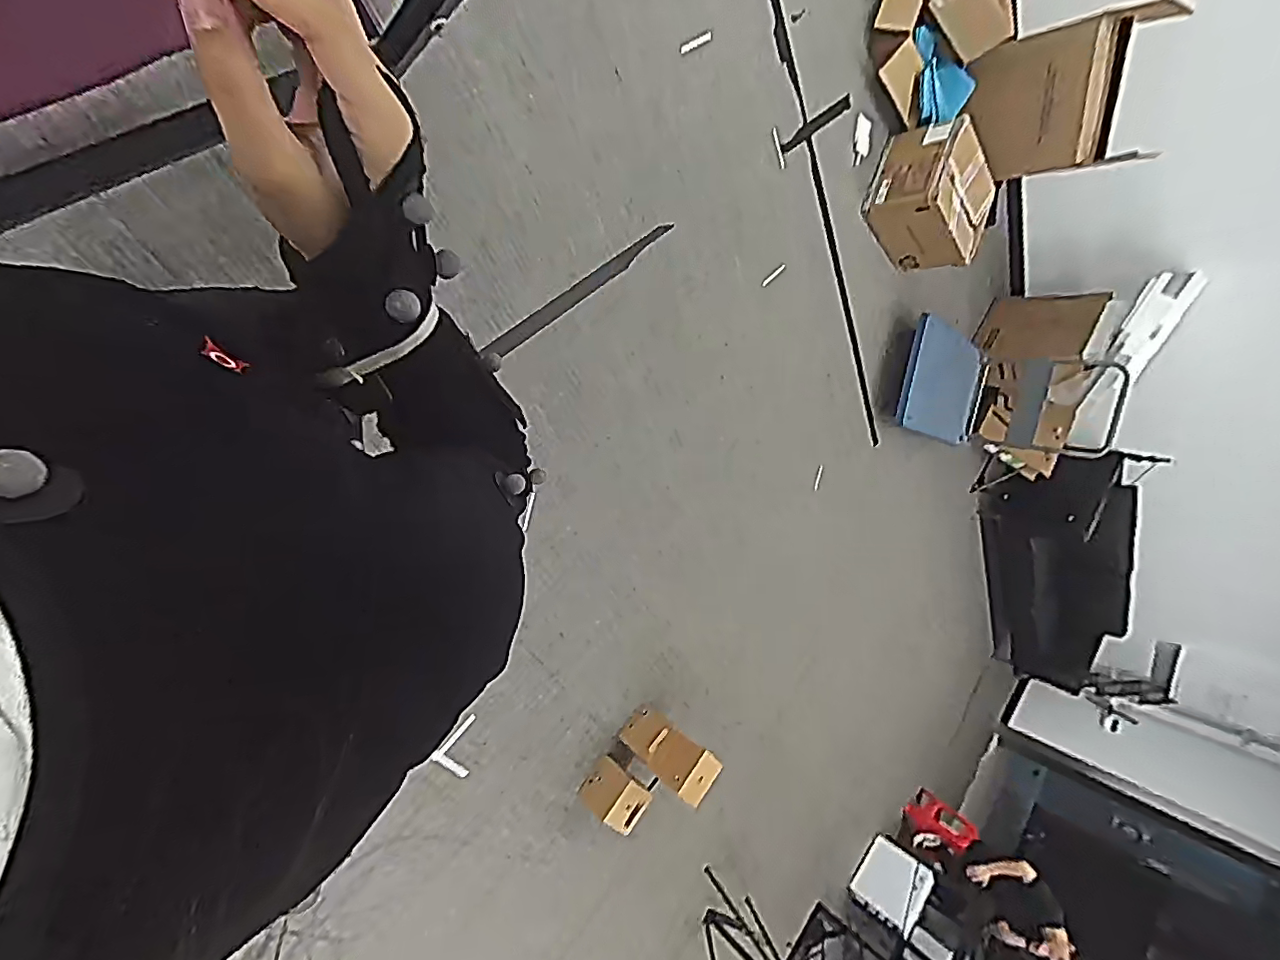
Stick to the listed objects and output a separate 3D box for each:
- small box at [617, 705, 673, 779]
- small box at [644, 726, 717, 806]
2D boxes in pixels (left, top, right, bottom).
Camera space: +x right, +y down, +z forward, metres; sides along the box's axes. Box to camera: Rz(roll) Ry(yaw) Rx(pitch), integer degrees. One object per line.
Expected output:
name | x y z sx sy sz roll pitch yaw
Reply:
small box | 0.037 1.012 2.109 0.168 0.176 0.179 -43 127 -25
small box | 0.147 1.049 1.995 0.179 0.176 0.168 -49 129 -20
